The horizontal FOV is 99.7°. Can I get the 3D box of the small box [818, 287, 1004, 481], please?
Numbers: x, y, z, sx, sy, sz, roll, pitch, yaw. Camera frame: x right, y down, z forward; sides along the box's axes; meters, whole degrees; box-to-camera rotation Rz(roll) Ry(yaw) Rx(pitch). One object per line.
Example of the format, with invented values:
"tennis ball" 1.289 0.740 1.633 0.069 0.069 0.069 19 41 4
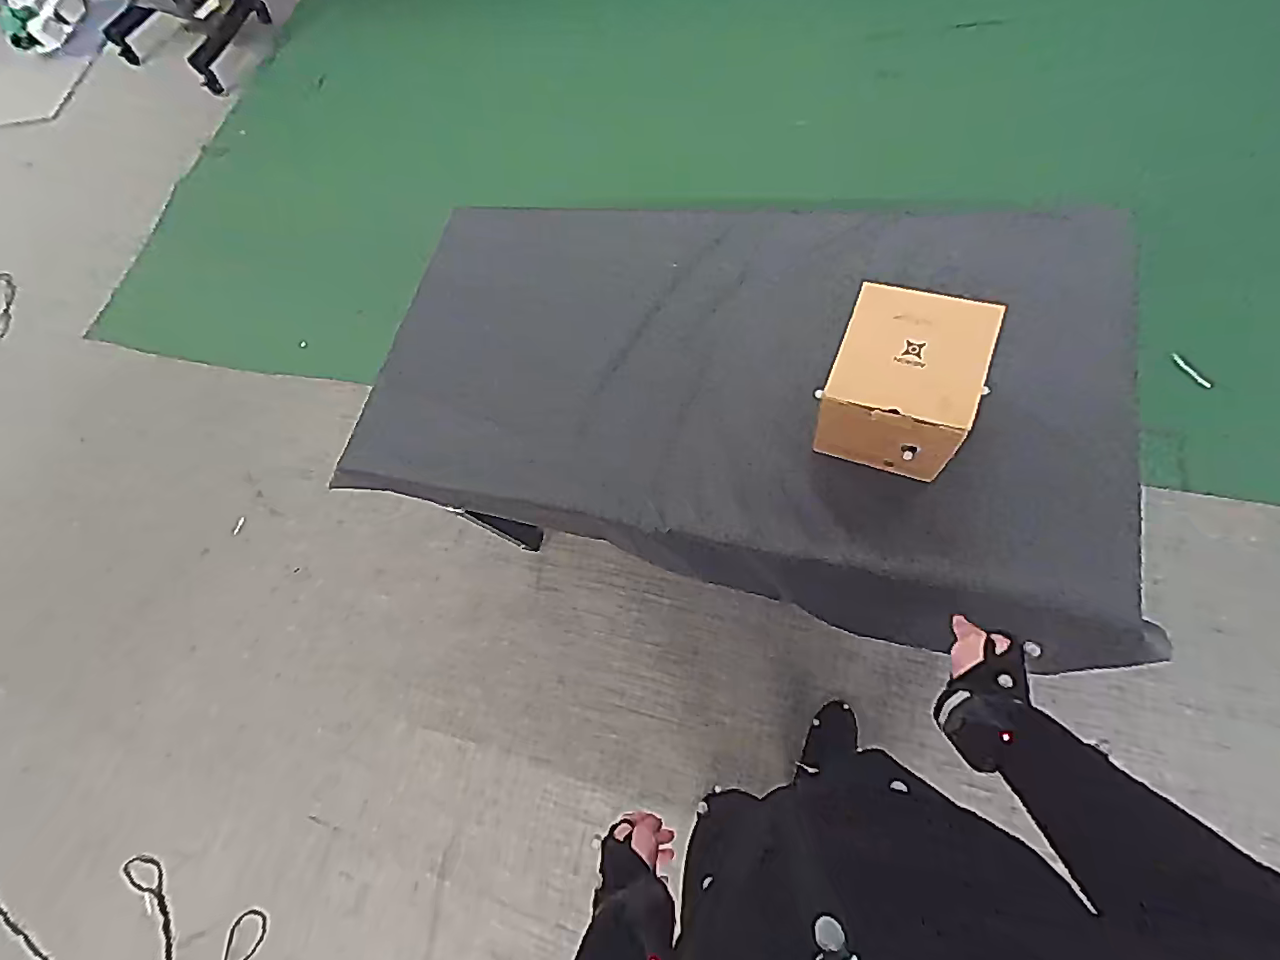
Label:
"small box" 0.346 -0.120 0.722 0.168 0.176 0.179 19 73 19
